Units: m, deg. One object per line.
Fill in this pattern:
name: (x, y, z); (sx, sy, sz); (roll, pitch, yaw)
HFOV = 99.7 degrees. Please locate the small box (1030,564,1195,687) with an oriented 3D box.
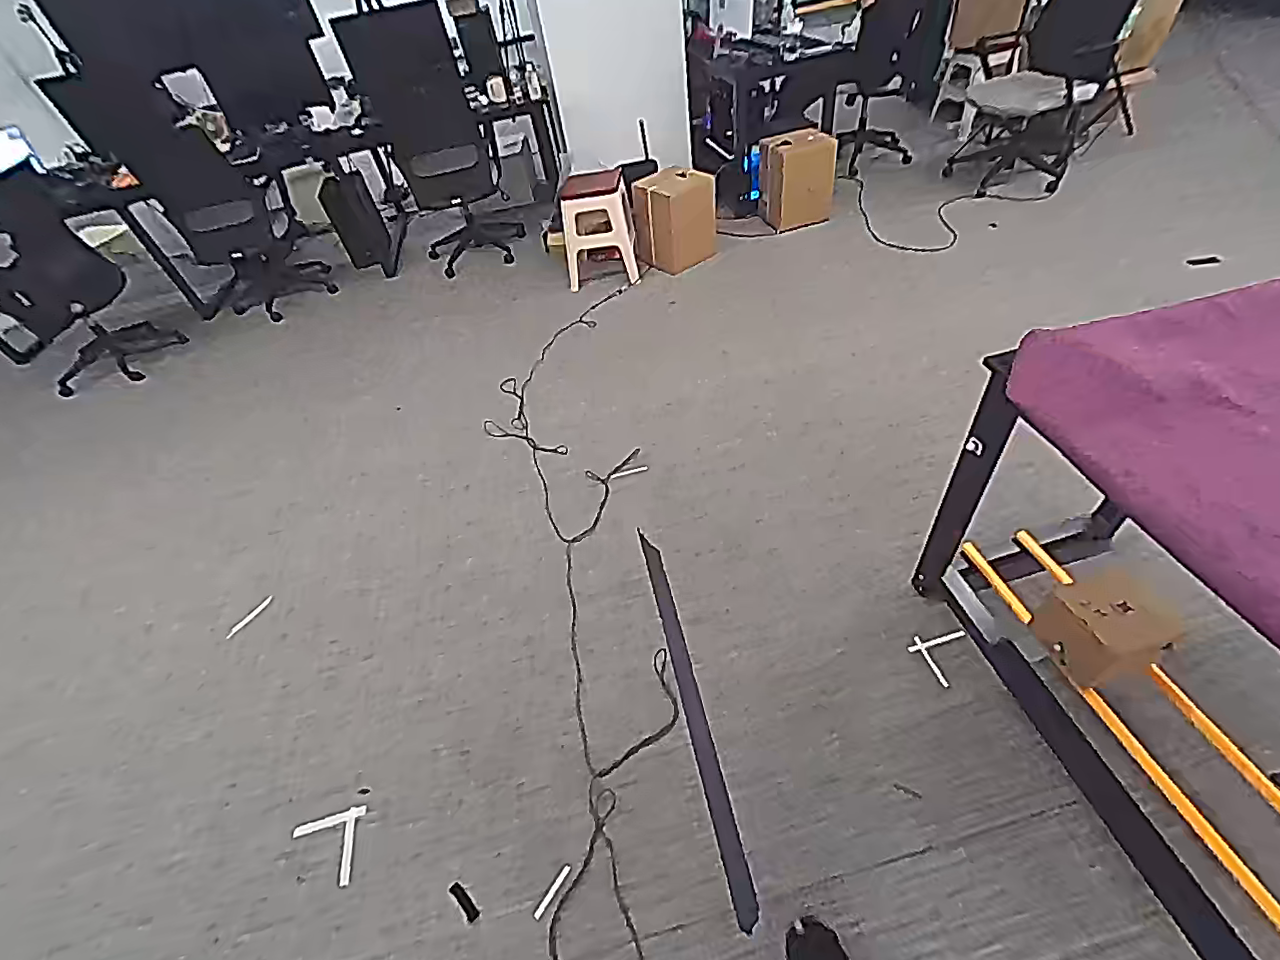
small box: (0.989, 0.312, 1.153); (0.179, 0.176, 0.168); (-18, 46, -3)
